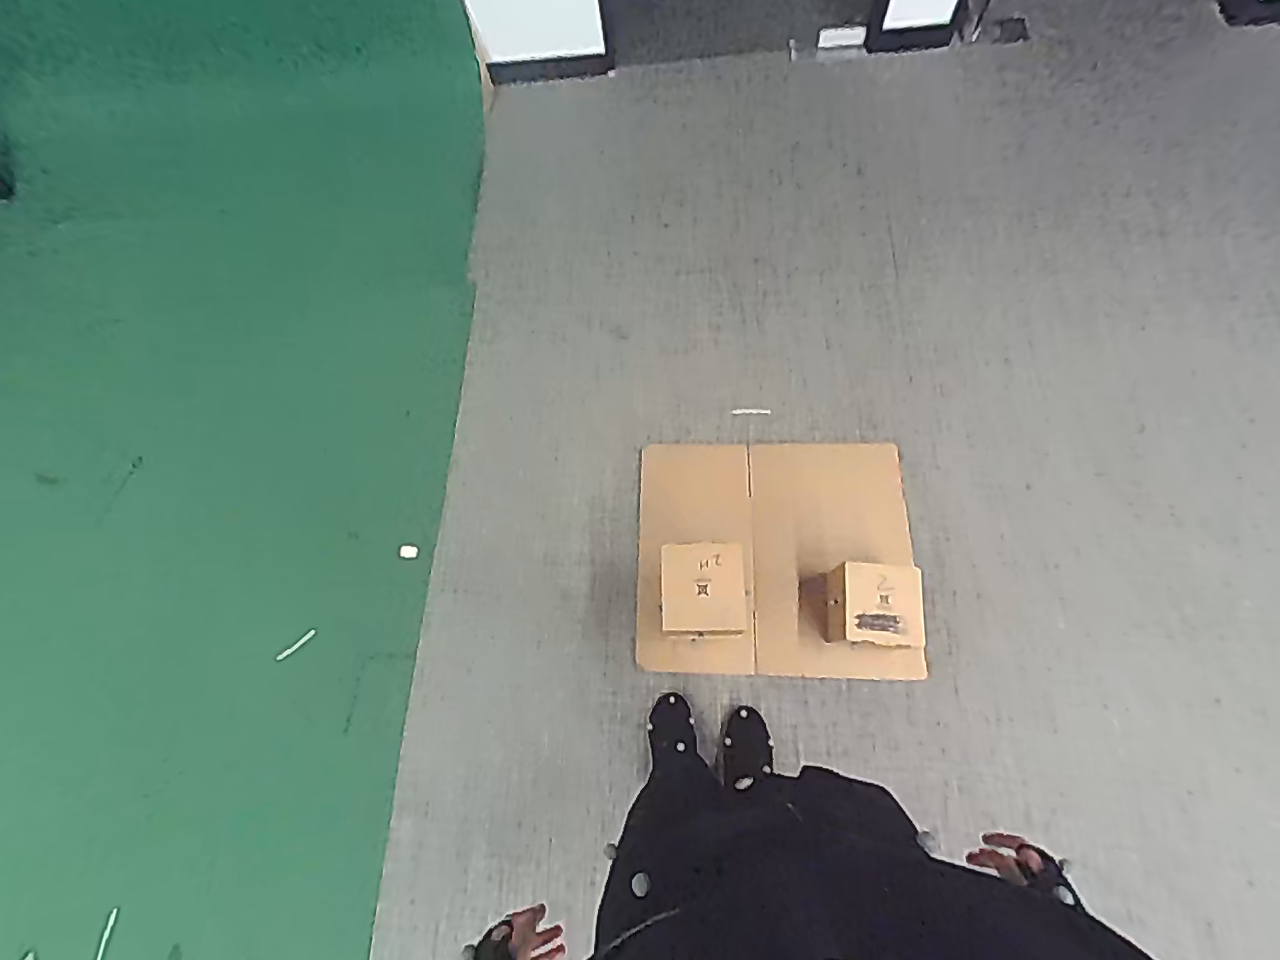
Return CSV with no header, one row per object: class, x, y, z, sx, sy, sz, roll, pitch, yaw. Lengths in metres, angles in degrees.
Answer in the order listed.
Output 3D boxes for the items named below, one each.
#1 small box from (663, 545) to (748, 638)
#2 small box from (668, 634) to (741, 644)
small box,0.135,0.239,1.139,0.168,0.176,0.179,-1,70,4
small box,0.152,0.299,1.292,0.168,0.176,0.179,-2,70,5
